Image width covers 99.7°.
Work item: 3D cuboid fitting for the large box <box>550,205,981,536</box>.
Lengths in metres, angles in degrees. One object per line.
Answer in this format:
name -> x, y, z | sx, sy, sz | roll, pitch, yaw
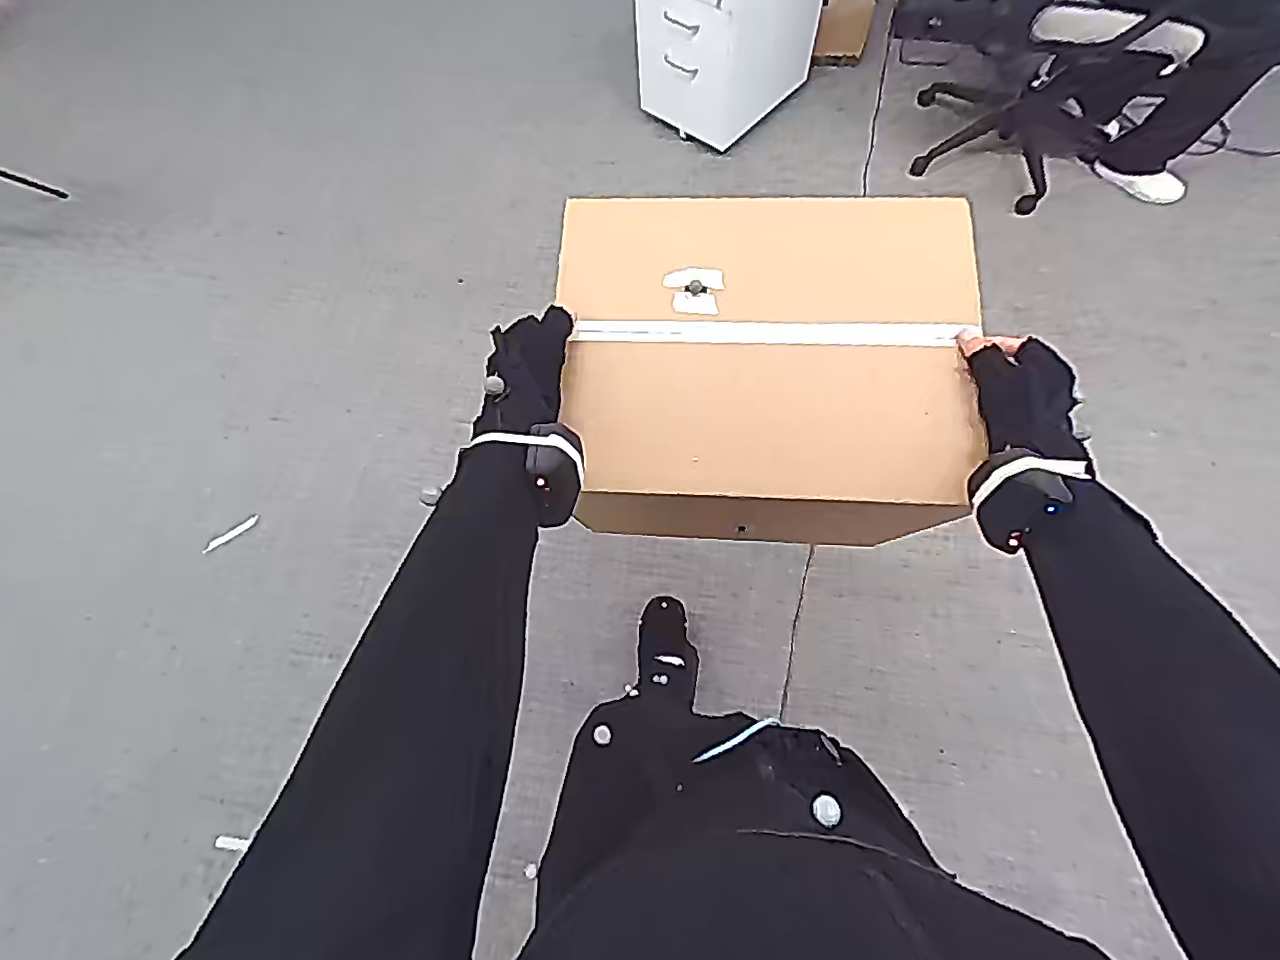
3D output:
large box -> 0.131, -0.103, 0.679 | 0.408, 0.320, 0.320 | 2, 76, 6
